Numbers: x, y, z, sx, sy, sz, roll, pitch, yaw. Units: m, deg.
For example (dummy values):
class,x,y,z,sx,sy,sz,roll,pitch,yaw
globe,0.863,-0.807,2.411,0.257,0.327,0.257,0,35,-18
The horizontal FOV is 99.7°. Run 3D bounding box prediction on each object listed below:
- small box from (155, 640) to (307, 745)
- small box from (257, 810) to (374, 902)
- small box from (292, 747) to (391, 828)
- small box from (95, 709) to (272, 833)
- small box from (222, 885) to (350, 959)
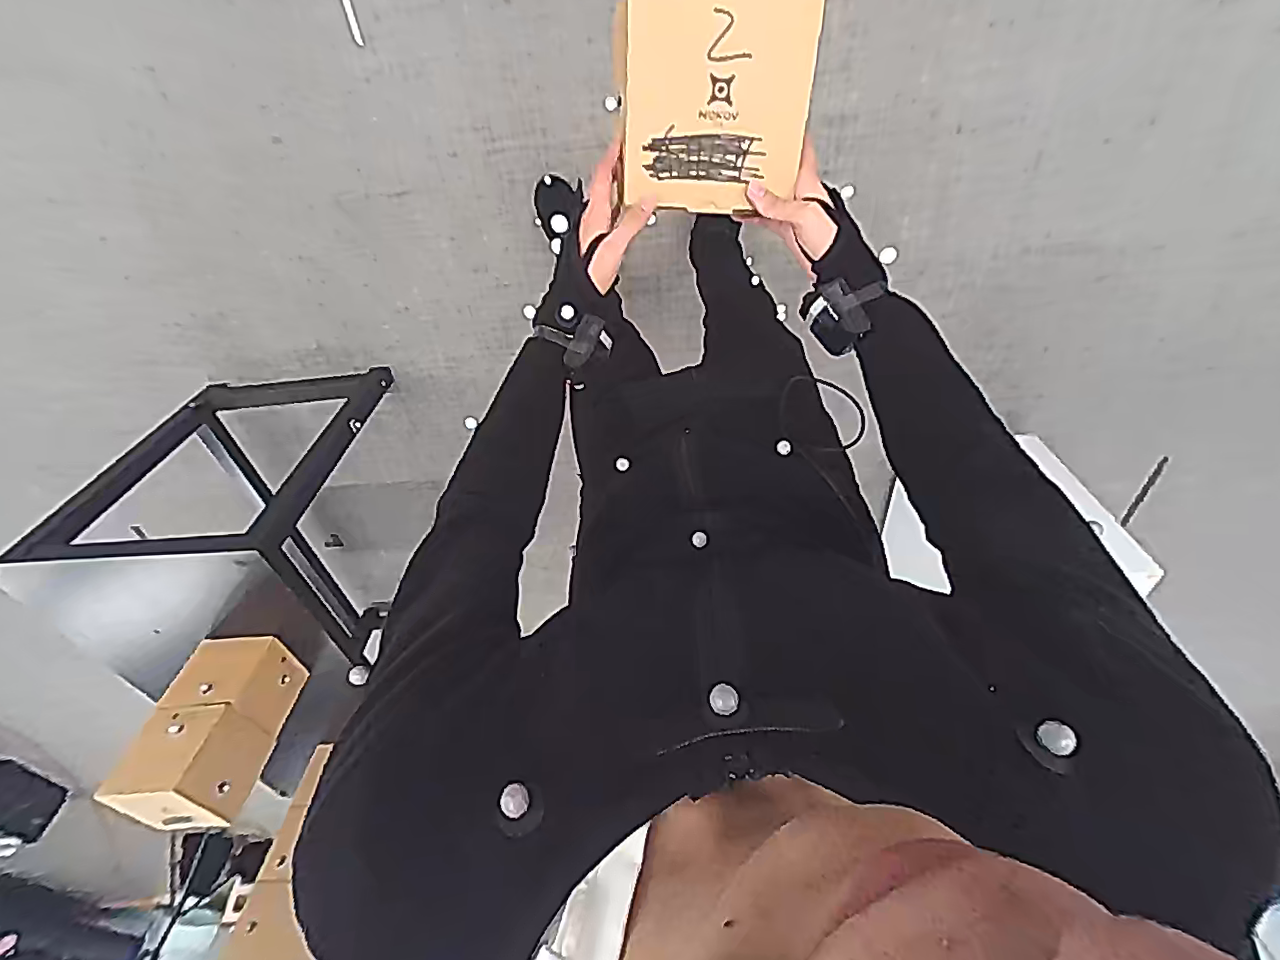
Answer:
class,x,y,z,sx,sy,sz,roll,pitch,yaw
small box,-0.898,0.475,1.208,0.179,0.176,0.168,-4,130,4
small box,-0.844,0.990,1.426,0.179,0.176,0.168,-5,131,4
small box,-0.841,0.884,1.552,0.179,0.176,0.168,-5,130,5
small box,-0.893,0.581,1.082,0.168,0.176,0.179,-7,129,6
small box,-0.844,1.094,1.301,0.179,0.176,0.168,-5,131,4
